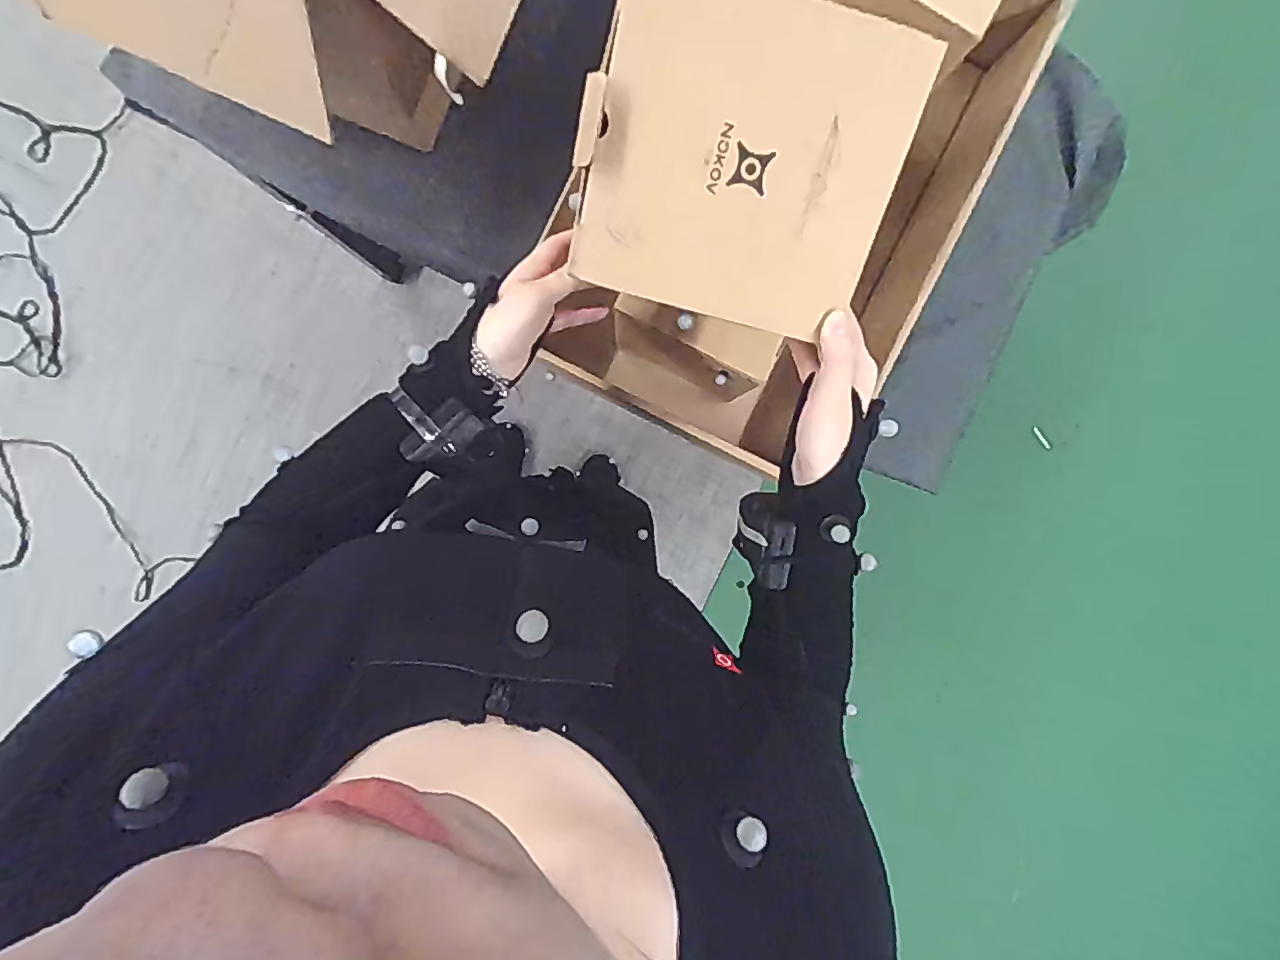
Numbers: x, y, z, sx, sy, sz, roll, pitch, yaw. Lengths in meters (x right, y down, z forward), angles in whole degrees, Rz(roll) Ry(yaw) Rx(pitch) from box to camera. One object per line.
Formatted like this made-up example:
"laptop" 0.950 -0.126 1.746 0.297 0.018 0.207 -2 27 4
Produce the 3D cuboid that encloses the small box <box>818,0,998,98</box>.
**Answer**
"small box" 0.208 -0.439 0.463 0.168 0.176 0.179 28 94 -6

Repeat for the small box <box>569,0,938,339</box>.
"small box" 0.057 -0.214 0.385 0.179 0.176 0.168 12 114 -7
